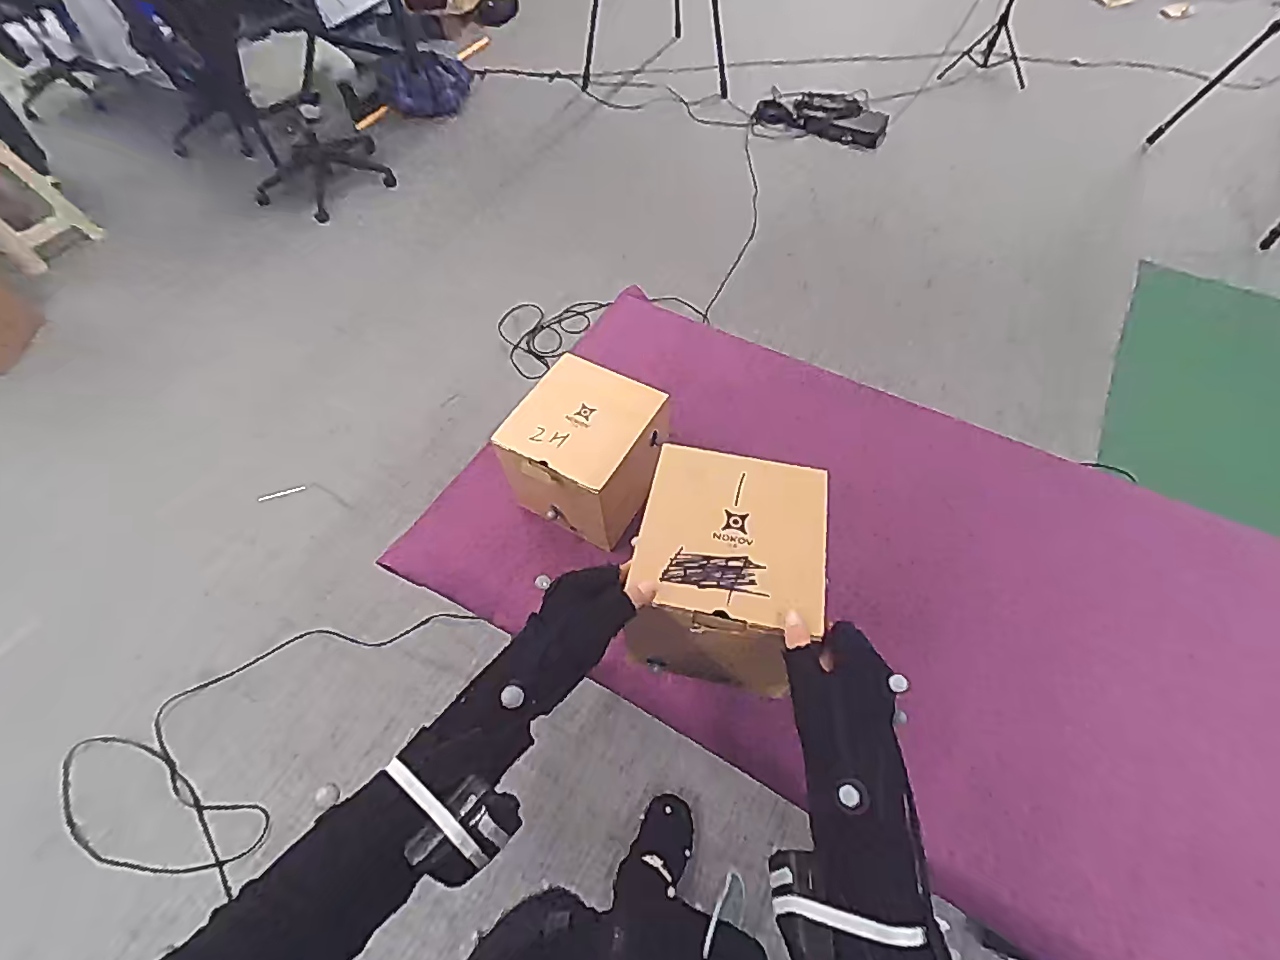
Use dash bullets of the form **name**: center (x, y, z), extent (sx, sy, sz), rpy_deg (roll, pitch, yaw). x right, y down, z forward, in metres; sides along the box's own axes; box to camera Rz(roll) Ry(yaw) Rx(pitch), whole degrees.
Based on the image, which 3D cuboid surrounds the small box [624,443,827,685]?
- **small box**: center (0.086, 0.091, 0.558), extent (0.168, 0.176, 0.179), rpy_deg (10, 54, 8)

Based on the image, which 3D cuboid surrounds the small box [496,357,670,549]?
- **small box**: center (-0.071, -0.035, 0.767), extent (0.168, 0.176, 0.179), rpy_deg (25, 62, 18)
